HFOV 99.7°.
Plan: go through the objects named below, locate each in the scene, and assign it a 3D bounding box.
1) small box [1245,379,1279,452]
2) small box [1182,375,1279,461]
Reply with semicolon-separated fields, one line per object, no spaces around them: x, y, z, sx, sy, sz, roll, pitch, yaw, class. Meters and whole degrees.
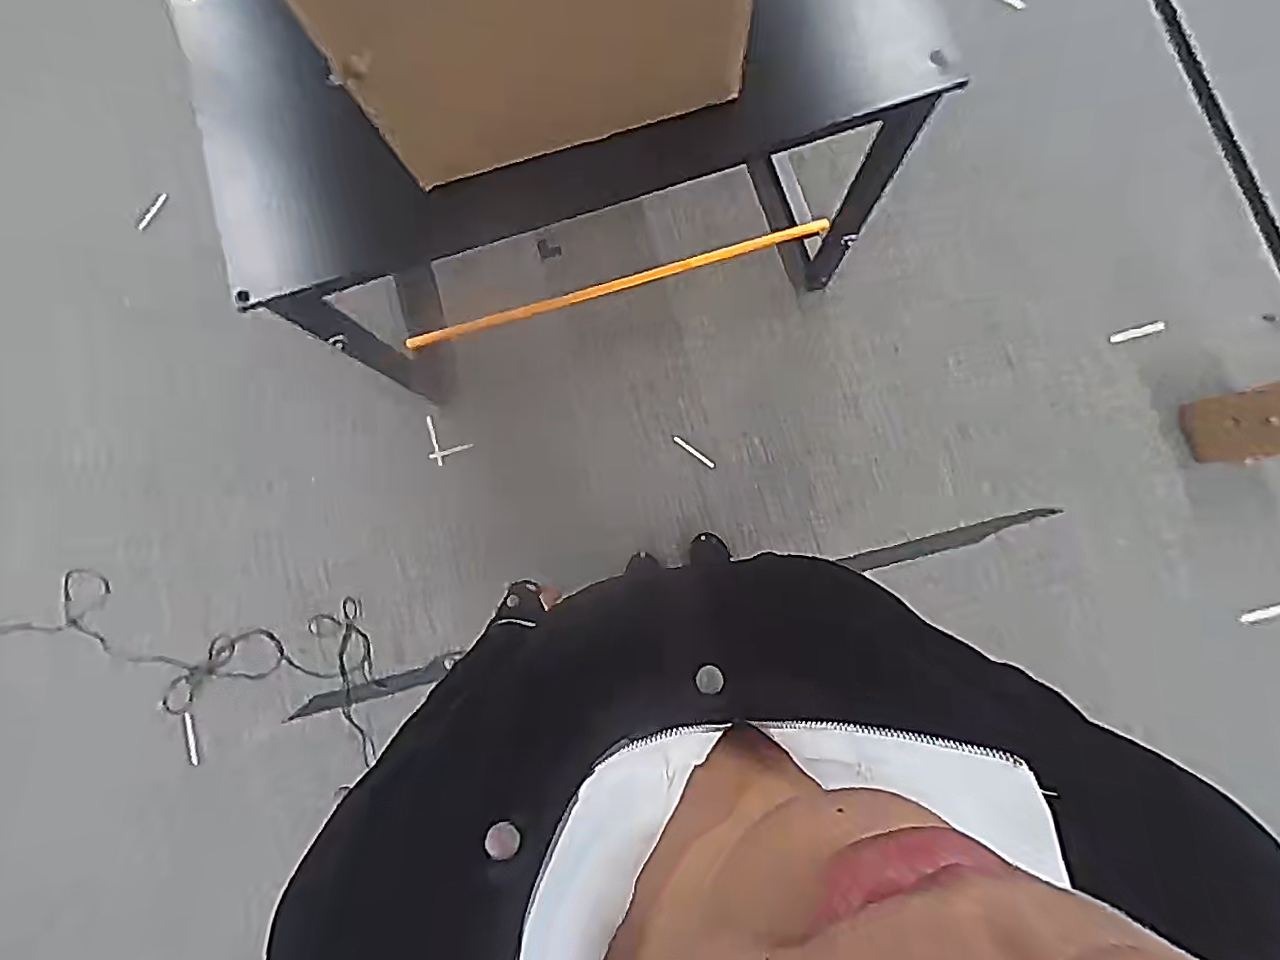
1.552;-0.168;1.215;0.179;0.176;0.168;-13;84;2;small box
1.555;-0.158;1.380;0.168;0.176;0.179;-13;84;2;small box
